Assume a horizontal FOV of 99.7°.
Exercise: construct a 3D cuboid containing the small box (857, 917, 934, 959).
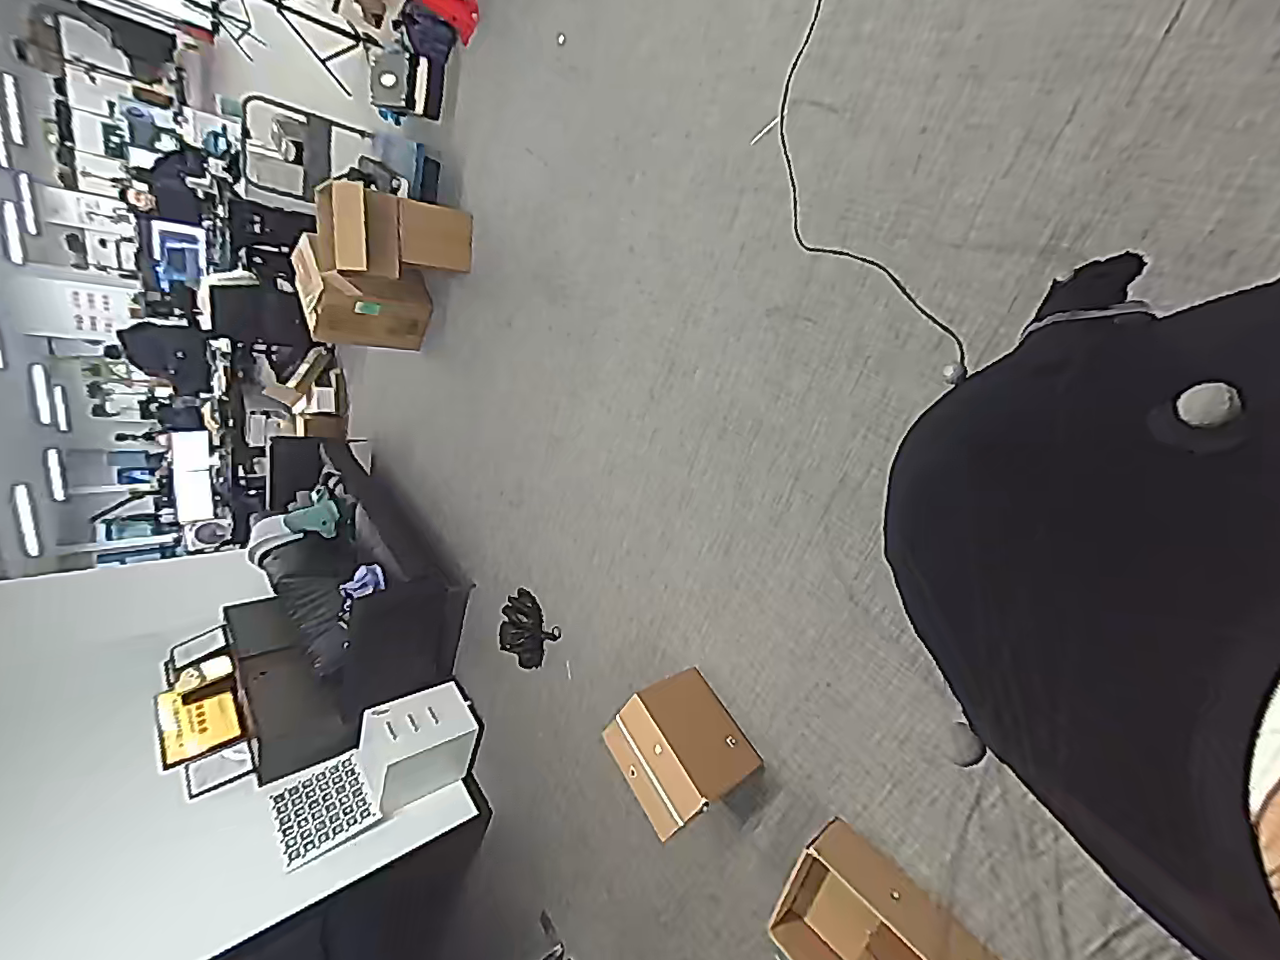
[{"bbox_3d":[0.684,1.343,1.451,0.179,0.176,0.168,33,117,41],"label":"small box"}]
